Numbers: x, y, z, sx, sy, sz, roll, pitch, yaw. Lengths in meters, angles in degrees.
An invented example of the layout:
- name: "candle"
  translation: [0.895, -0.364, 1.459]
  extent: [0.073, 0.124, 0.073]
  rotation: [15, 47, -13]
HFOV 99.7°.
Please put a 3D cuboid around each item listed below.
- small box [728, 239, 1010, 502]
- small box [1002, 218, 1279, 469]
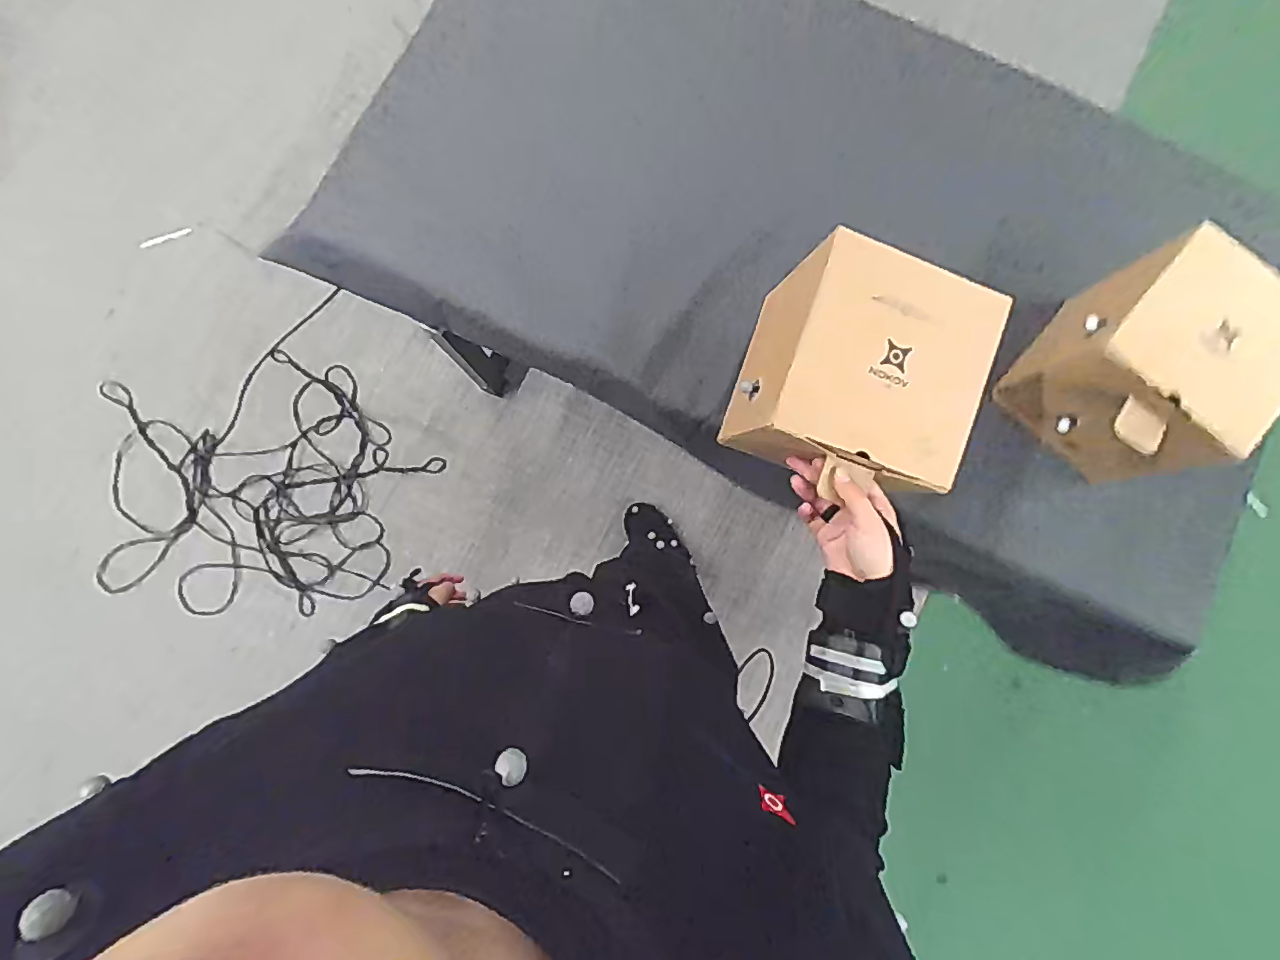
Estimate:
- name: "small box"
  translation: [0.198, -0.087, 0.519]
  extent: [0.168, 0.176, 0.179]
  rotation: [18, 87, -7]
- name: "small box"
  translation: [0.556, -0.134, 0.596]
  extent: [0.168, 0.176, 0.179]
  rotation: [41, 85, 4]
